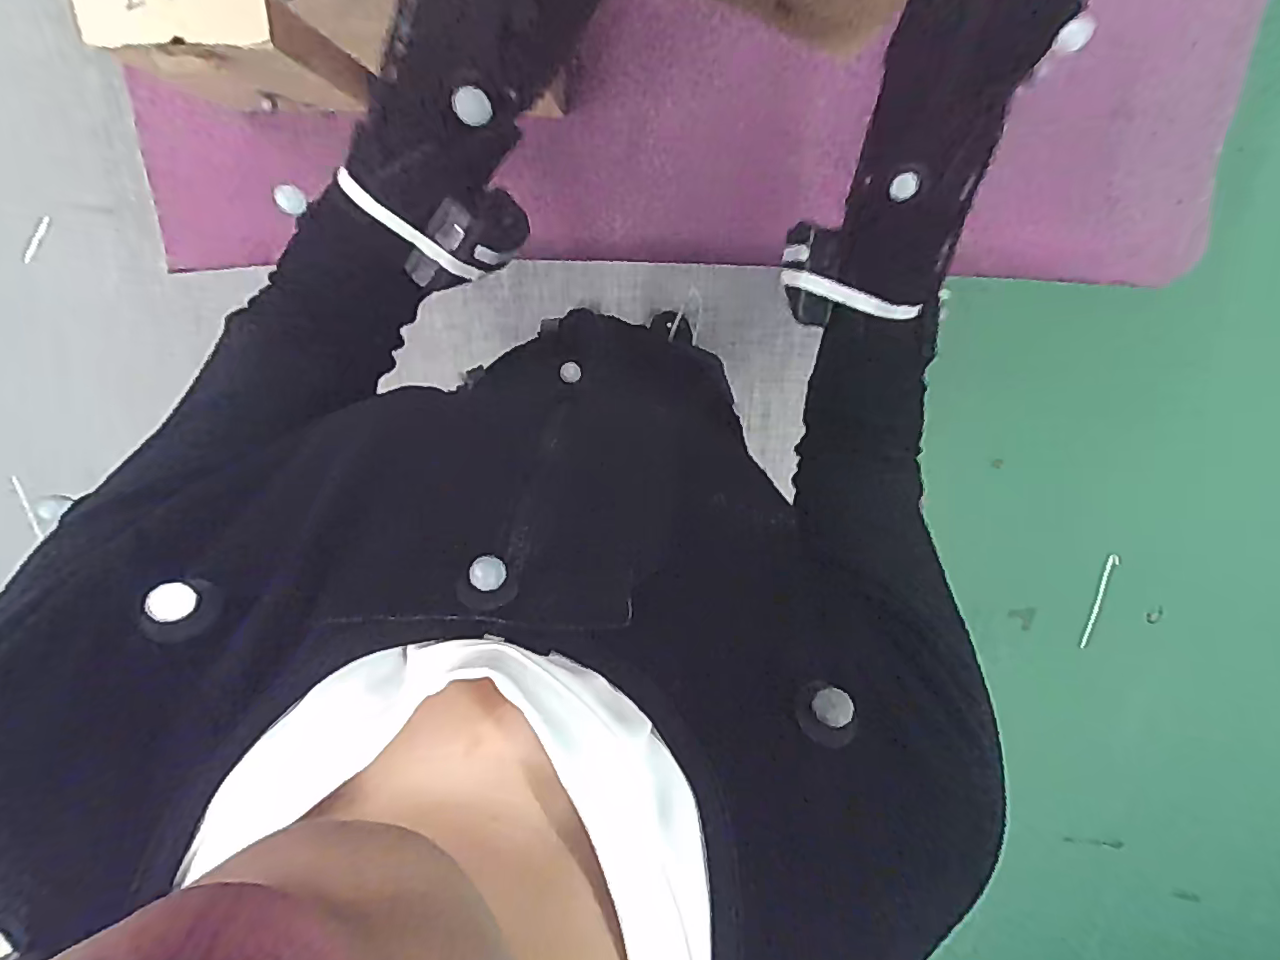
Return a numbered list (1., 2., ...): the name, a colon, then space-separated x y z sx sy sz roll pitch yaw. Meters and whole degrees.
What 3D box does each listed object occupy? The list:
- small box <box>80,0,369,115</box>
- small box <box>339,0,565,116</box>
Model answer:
1. small box: -0.384 -0.478 0.513 0.168 0.176 0.179 2 108 1
2. small box: -0.164 -0.469 0.511 0.168 0.176 0.179 3 108 0
